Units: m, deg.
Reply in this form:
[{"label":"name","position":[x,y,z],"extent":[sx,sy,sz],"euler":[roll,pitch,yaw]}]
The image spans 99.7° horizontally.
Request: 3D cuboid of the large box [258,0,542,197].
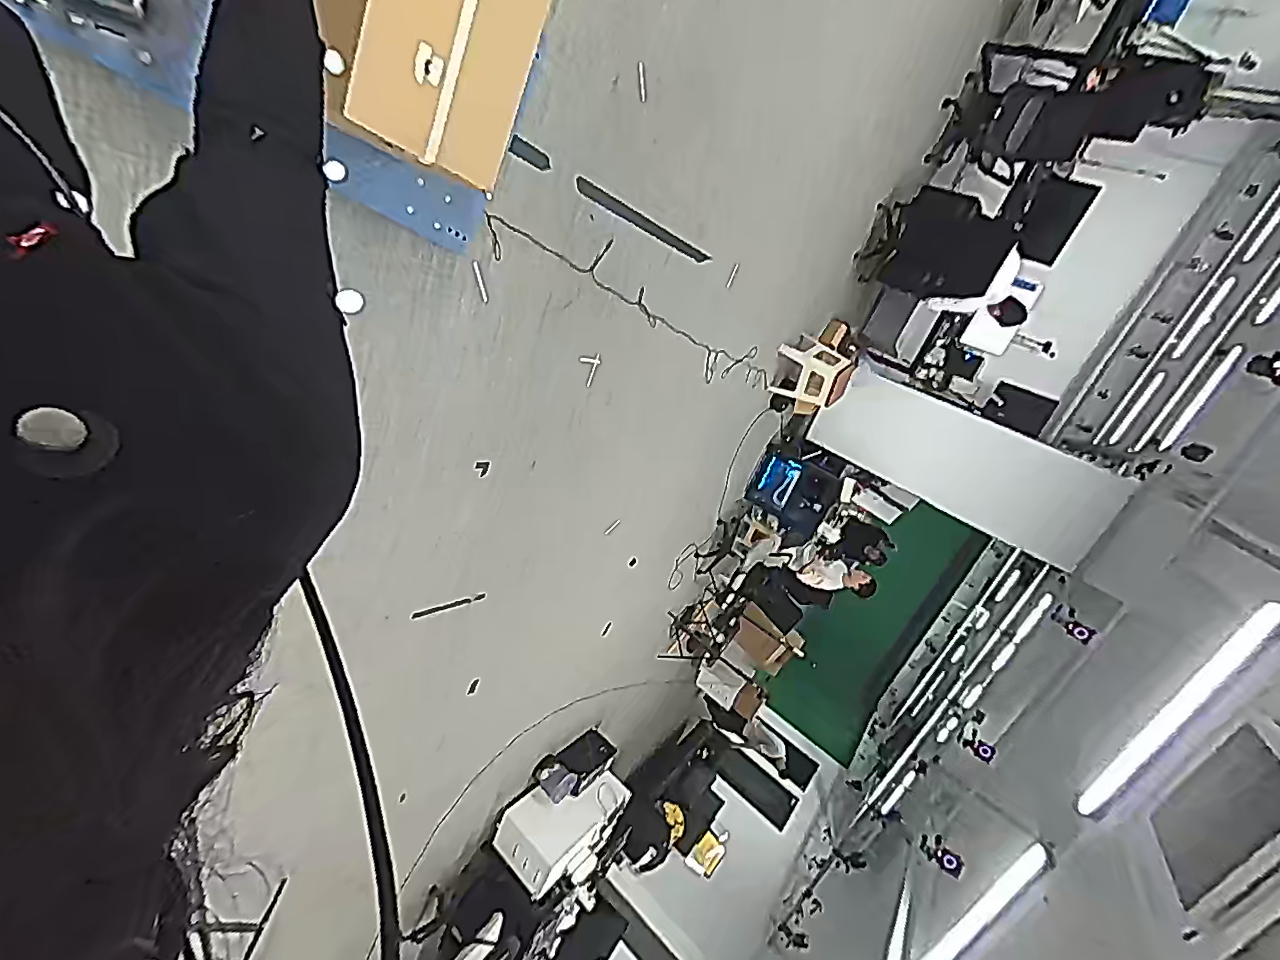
[{"label":"large box","position":[-0.444,-0.827,1.006],"extent":[0.320,0.320,0.408],"euler":[-3,122,-58]}]
